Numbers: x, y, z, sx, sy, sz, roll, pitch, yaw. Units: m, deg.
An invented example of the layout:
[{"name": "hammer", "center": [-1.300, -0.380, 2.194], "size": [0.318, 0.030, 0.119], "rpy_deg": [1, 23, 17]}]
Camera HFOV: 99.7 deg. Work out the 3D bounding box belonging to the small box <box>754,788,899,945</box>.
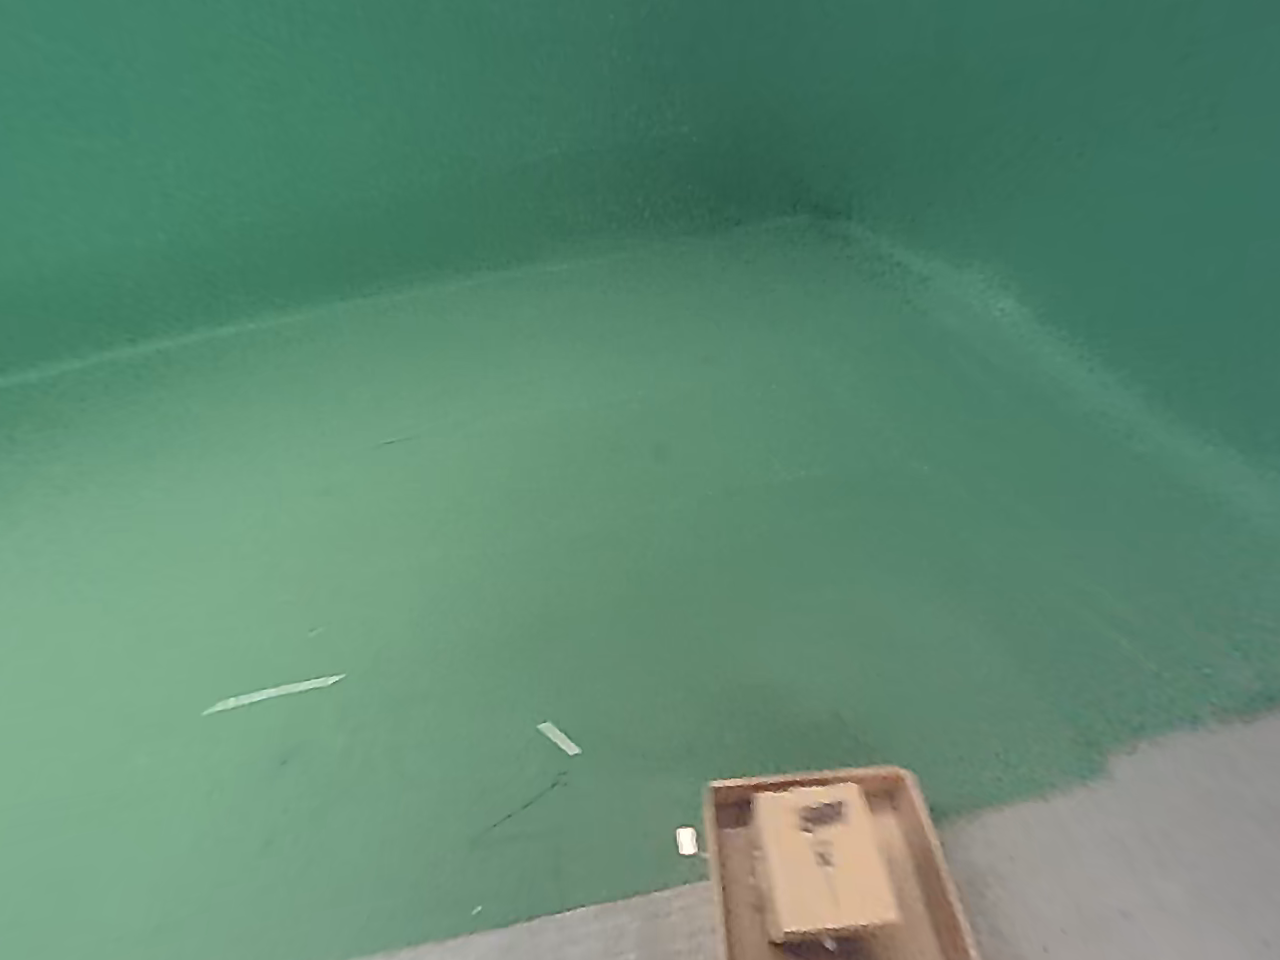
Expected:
[{"name": "small box", "center": [0.281, 0.616, 0.861], "size": [0.168, 0.176, 0.179], "rpy_deg": [-7, 46, 3]}]
